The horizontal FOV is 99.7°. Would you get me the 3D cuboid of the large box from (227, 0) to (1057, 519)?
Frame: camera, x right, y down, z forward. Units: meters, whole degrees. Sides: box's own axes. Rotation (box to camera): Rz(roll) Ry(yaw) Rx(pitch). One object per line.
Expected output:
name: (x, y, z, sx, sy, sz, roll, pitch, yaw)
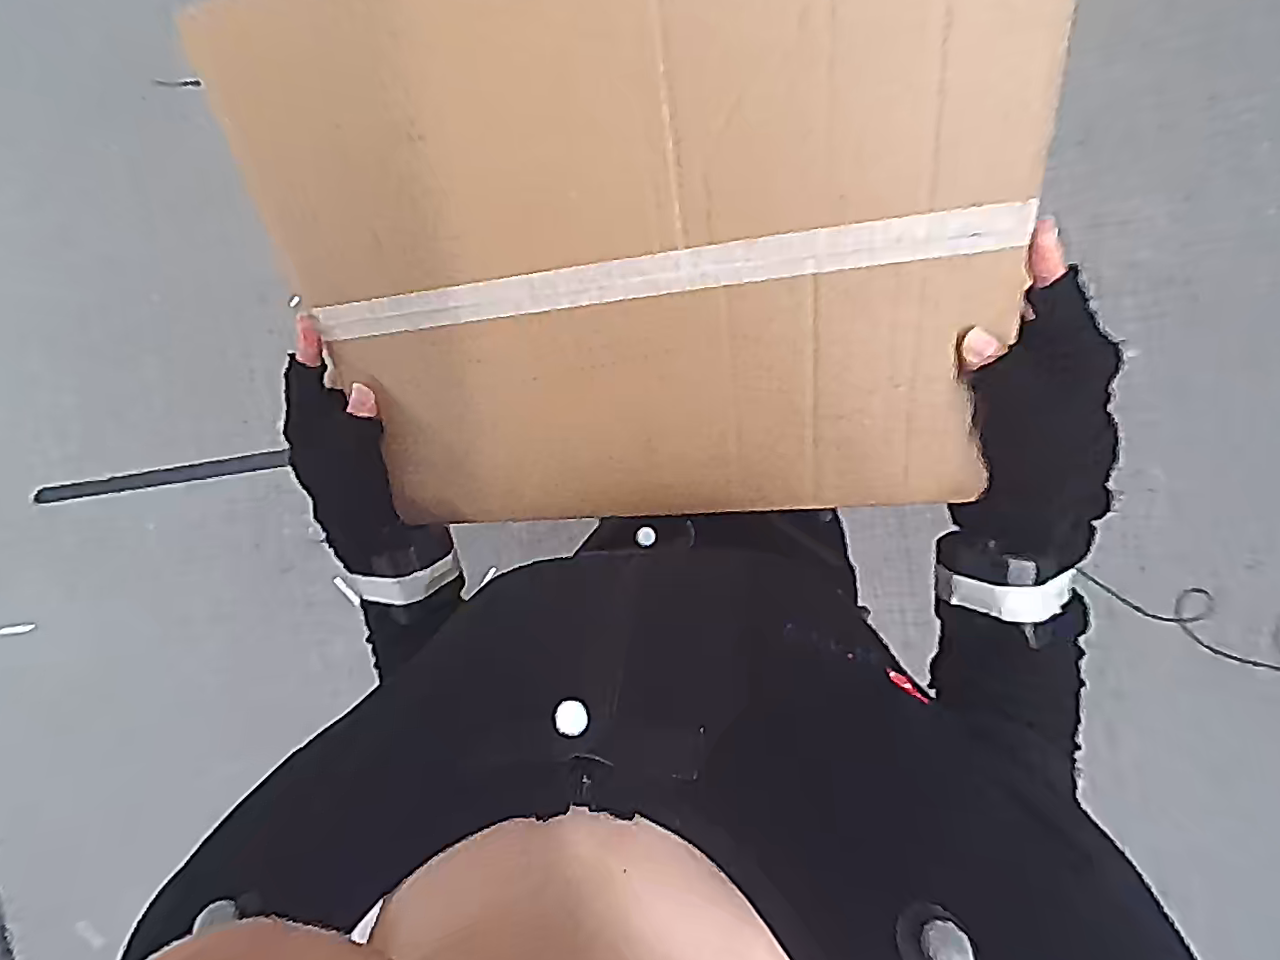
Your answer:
large box: (0.018, -0.188, 0.437, 0.408, 0.320, 0.320, -3, 120, 13)
